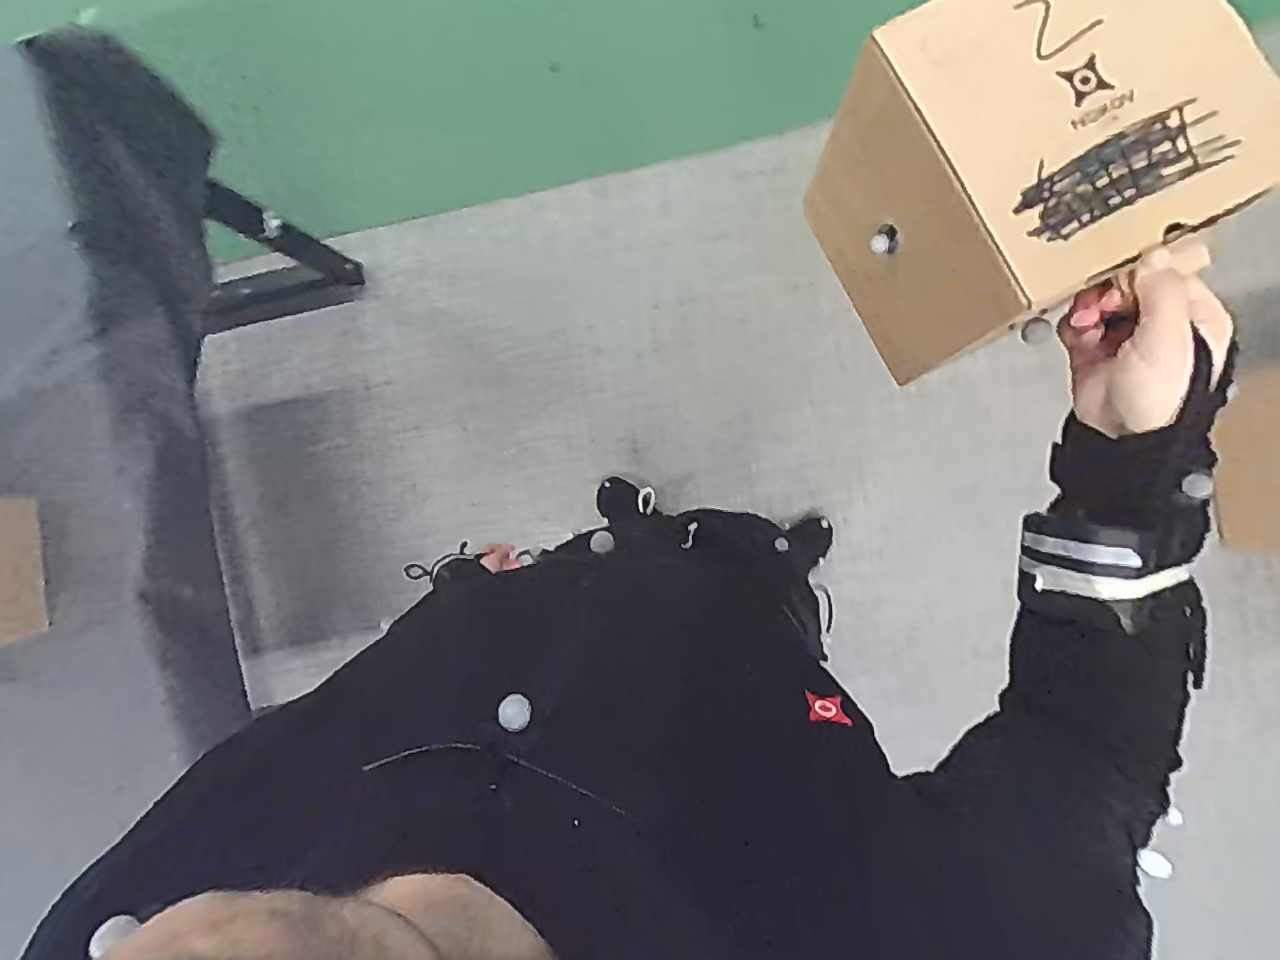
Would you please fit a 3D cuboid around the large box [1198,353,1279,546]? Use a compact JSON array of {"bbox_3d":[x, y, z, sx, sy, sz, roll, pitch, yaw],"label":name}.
[{"bbox_3d":[1.466,-0.081,1.100,0.320,0.320,0.408,-12,93,5],"label":"large box"}]
